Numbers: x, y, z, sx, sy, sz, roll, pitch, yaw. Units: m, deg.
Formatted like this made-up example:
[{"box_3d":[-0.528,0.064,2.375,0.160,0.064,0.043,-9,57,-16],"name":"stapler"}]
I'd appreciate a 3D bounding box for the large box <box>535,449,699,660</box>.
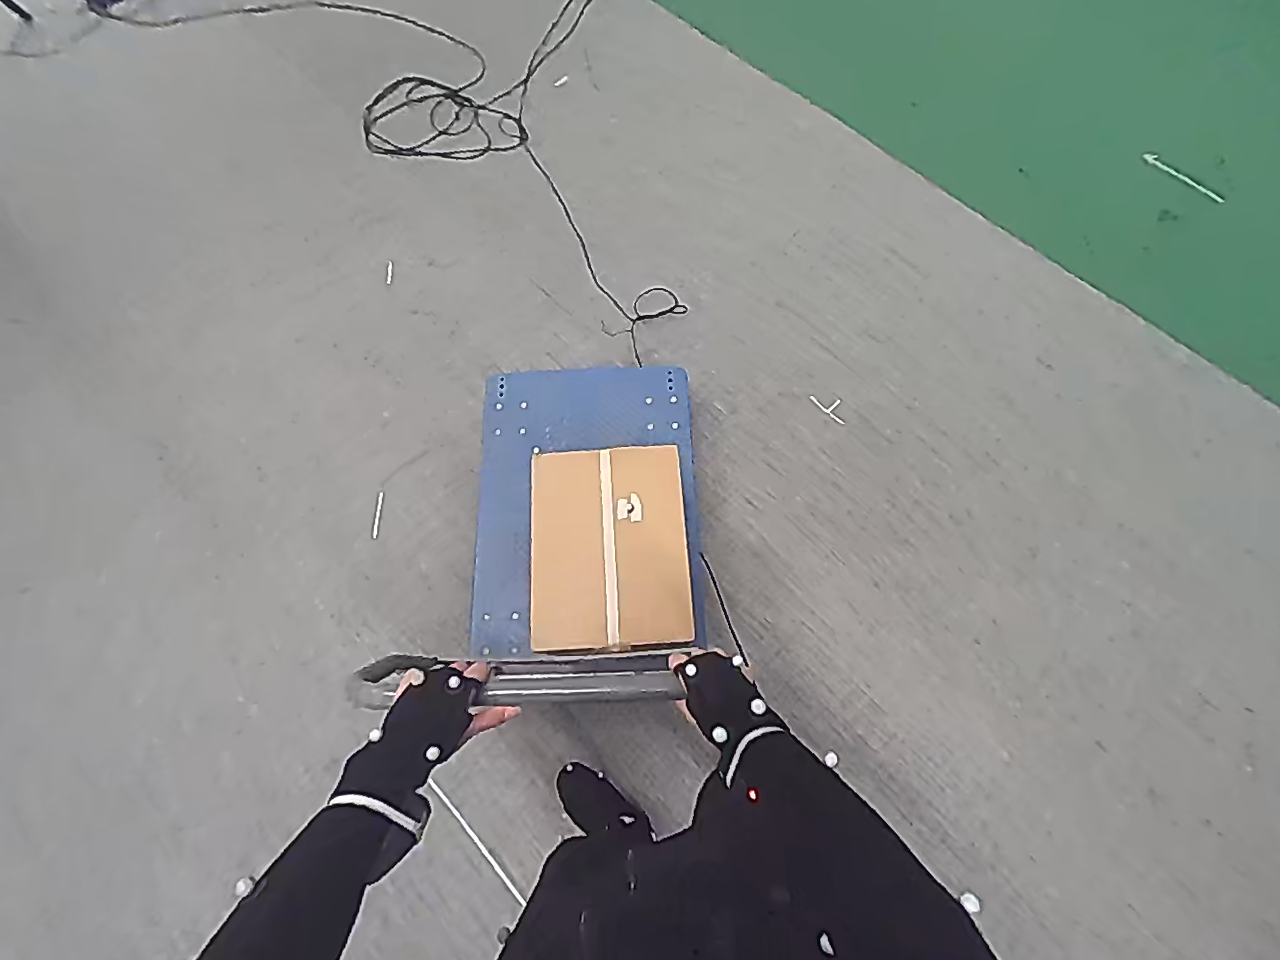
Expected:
[{"box_3d":[-0.053,0.182,1.220,0.320,0.320,0.408,-3,70,-1],"name":"large box"}]
